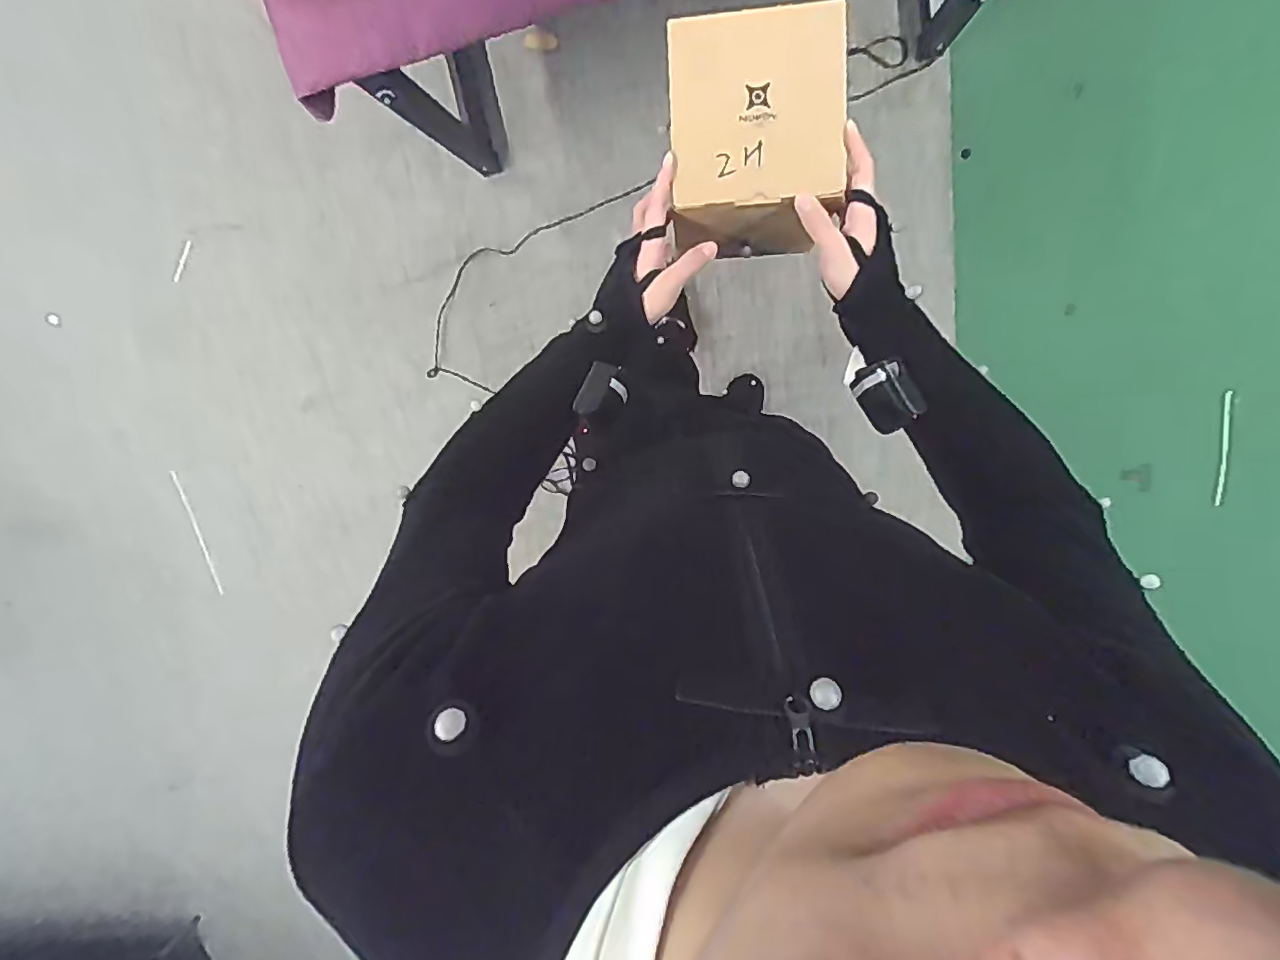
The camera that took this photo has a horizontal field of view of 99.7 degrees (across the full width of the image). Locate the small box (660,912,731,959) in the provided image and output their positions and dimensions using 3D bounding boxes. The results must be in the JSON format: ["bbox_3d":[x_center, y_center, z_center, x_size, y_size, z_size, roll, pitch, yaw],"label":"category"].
[{"bbox_3d":[0.151,1.301,1.451,0.179,0.176,0.168,-11,104,10],"label":"small box"}]

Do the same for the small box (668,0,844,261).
[{"bbox_3d":[0.116,-0.358,0.588,0.168,0.176,0.179,-1,94,7],"label":"small box"}]
